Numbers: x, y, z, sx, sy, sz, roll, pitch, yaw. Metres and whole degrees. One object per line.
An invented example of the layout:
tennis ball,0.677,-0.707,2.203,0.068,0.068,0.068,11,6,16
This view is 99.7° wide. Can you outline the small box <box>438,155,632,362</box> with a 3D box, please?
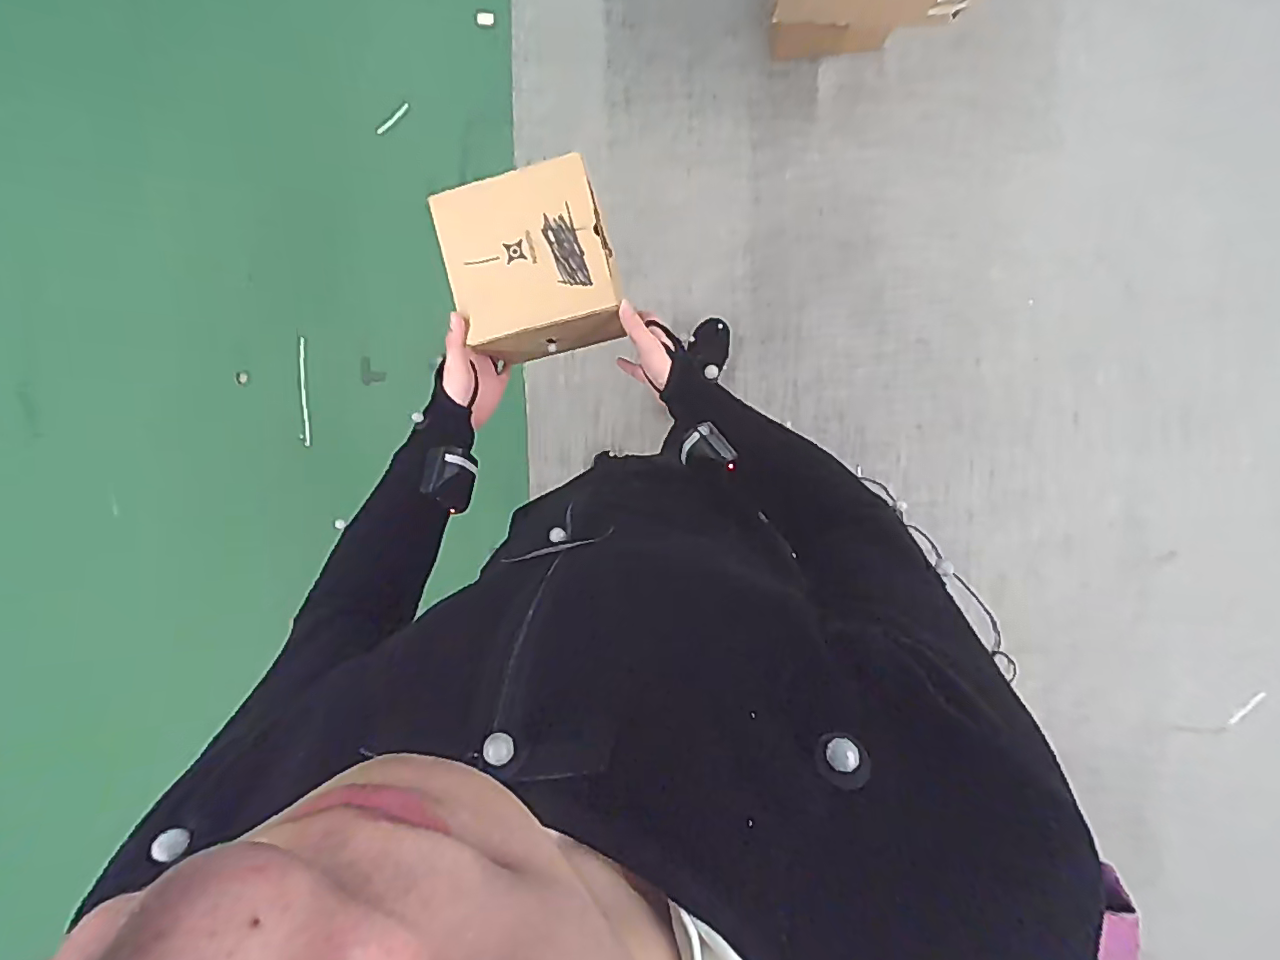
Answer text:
small box,-0.110,-0.250,0.654,0.179,0.176,0.168,-13,94,4
